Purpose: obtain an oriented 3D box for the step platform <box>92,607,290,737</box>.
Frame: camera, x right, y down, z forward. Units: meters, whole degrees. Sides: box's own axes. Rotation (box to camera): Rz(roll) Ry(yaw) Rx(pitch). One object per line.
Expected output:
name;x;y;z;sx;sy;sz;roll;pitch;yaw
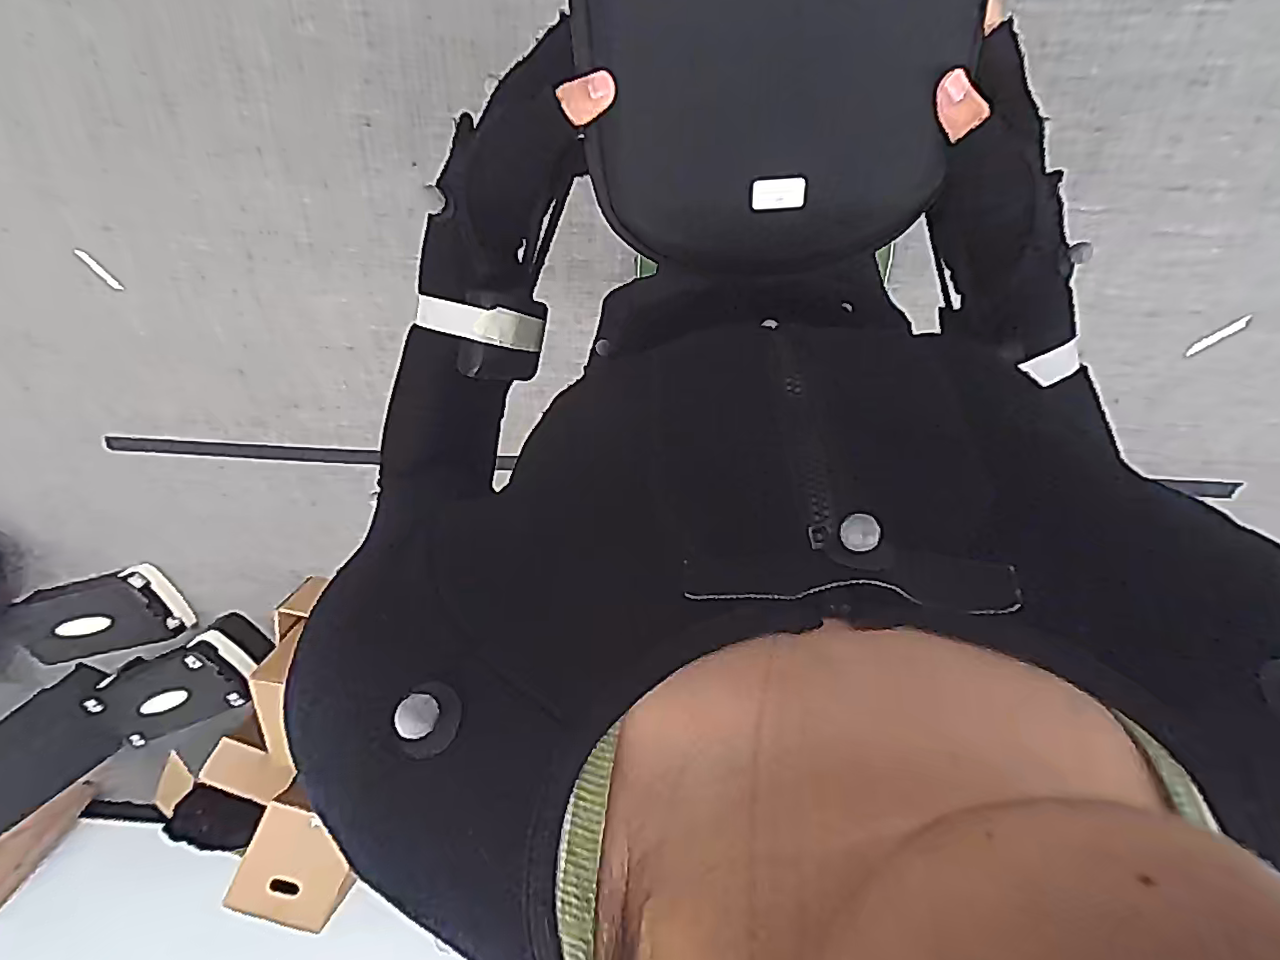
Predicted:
step platform;-1.700;0.736;2.047;0.684;0.204;0.286;-24;113;15
